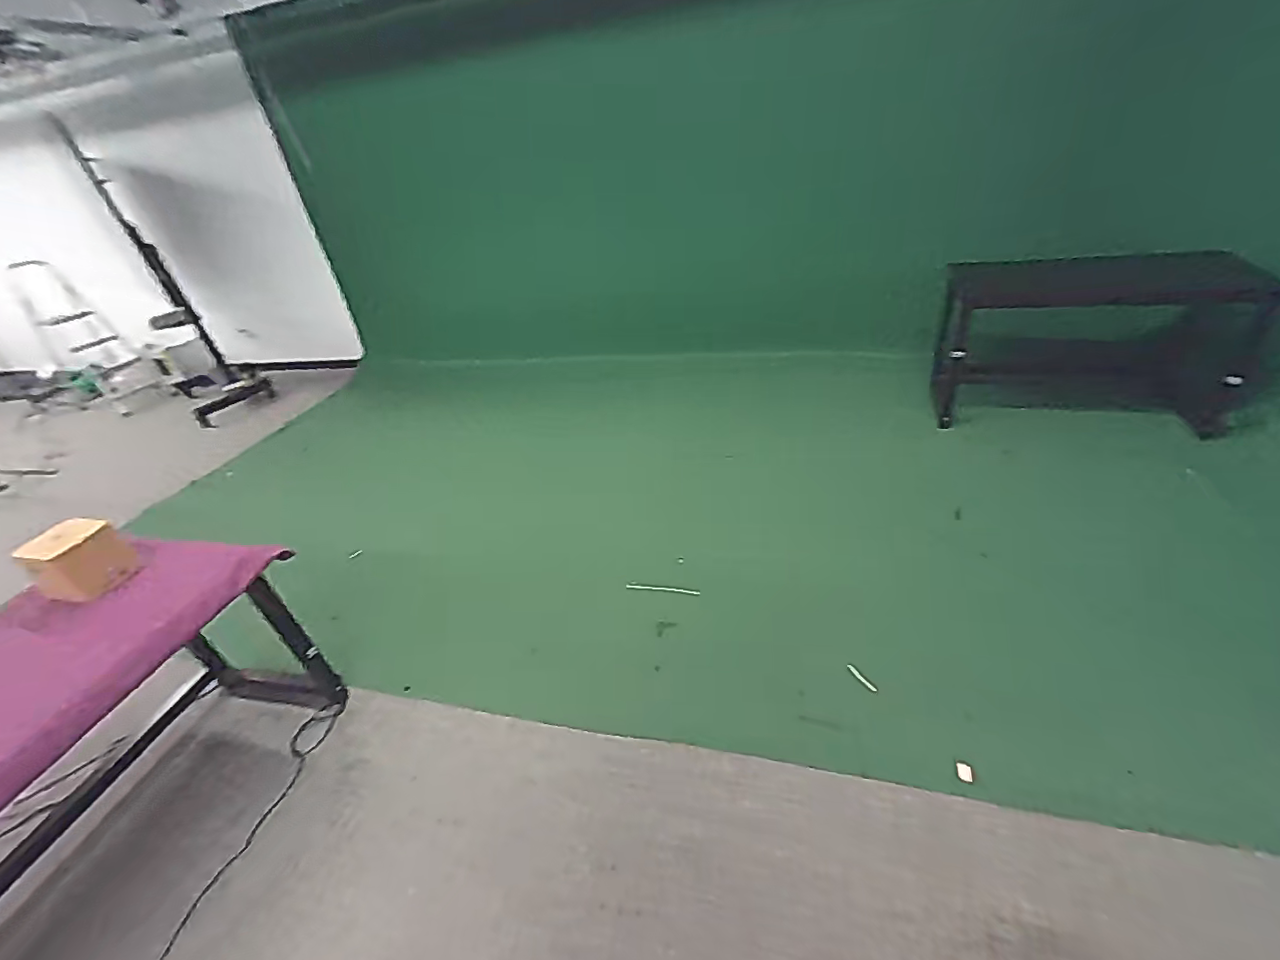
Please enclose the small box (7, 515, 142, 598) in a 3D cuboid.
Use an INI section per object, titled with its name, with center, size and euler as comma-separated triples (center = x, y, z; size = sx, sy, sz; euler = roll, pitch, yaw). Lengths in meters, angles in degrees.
[small box]
center = -1.610, 0.219, 1.552
size = 0.179, 0.176, 0.168
euler = 3, 37, 16
